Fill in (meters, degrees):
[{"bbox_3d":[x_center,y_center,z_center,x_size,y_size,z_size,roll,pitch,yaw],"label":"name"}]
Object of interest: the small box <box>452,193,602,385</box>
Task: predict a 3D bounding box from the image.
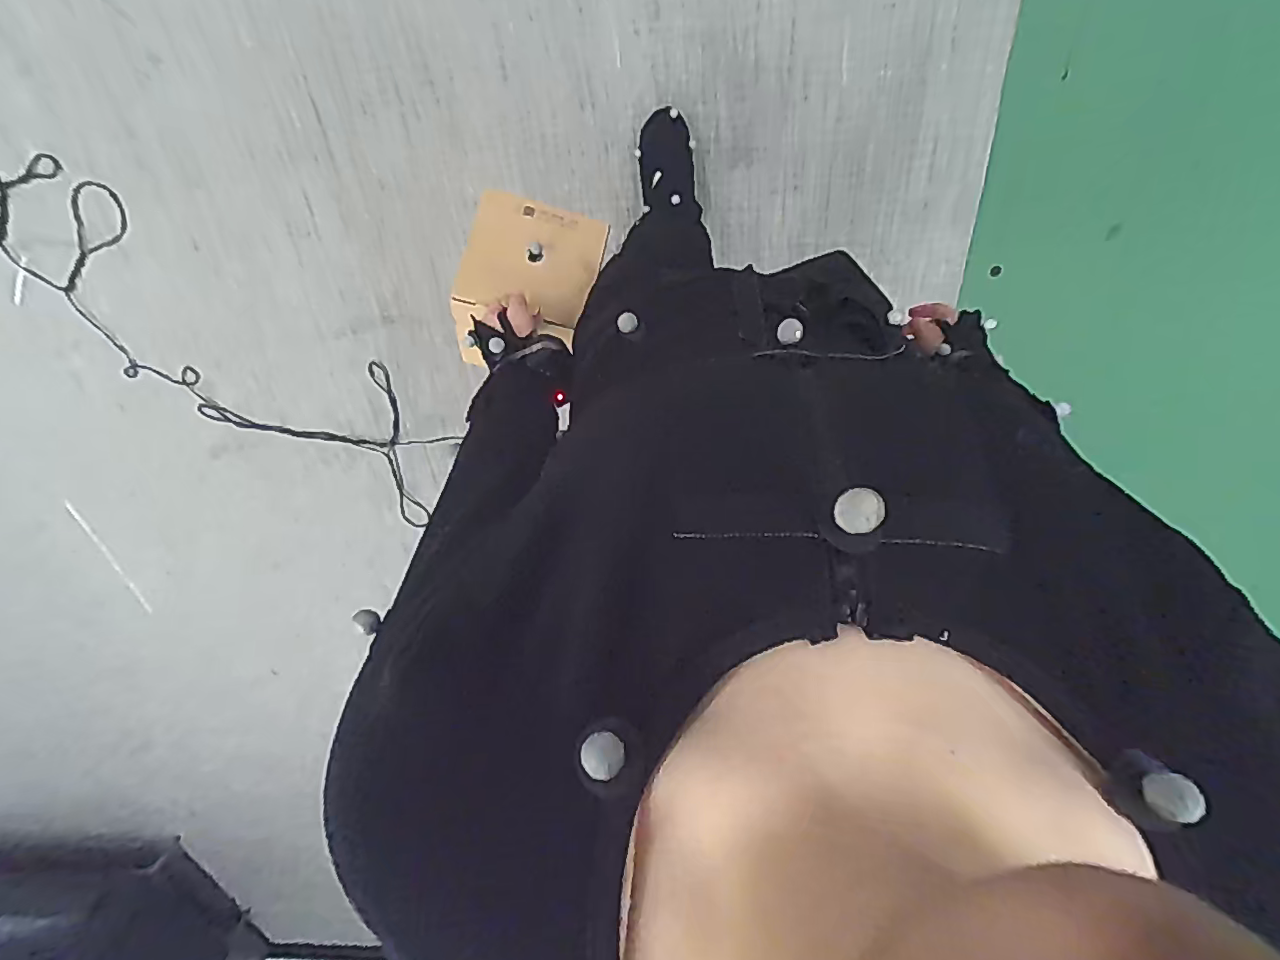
[{"bbox_3d":[-0.154,-0.258,0.754,0.168,0.176,0.179,12,164,-10],"label":"small box"}]
